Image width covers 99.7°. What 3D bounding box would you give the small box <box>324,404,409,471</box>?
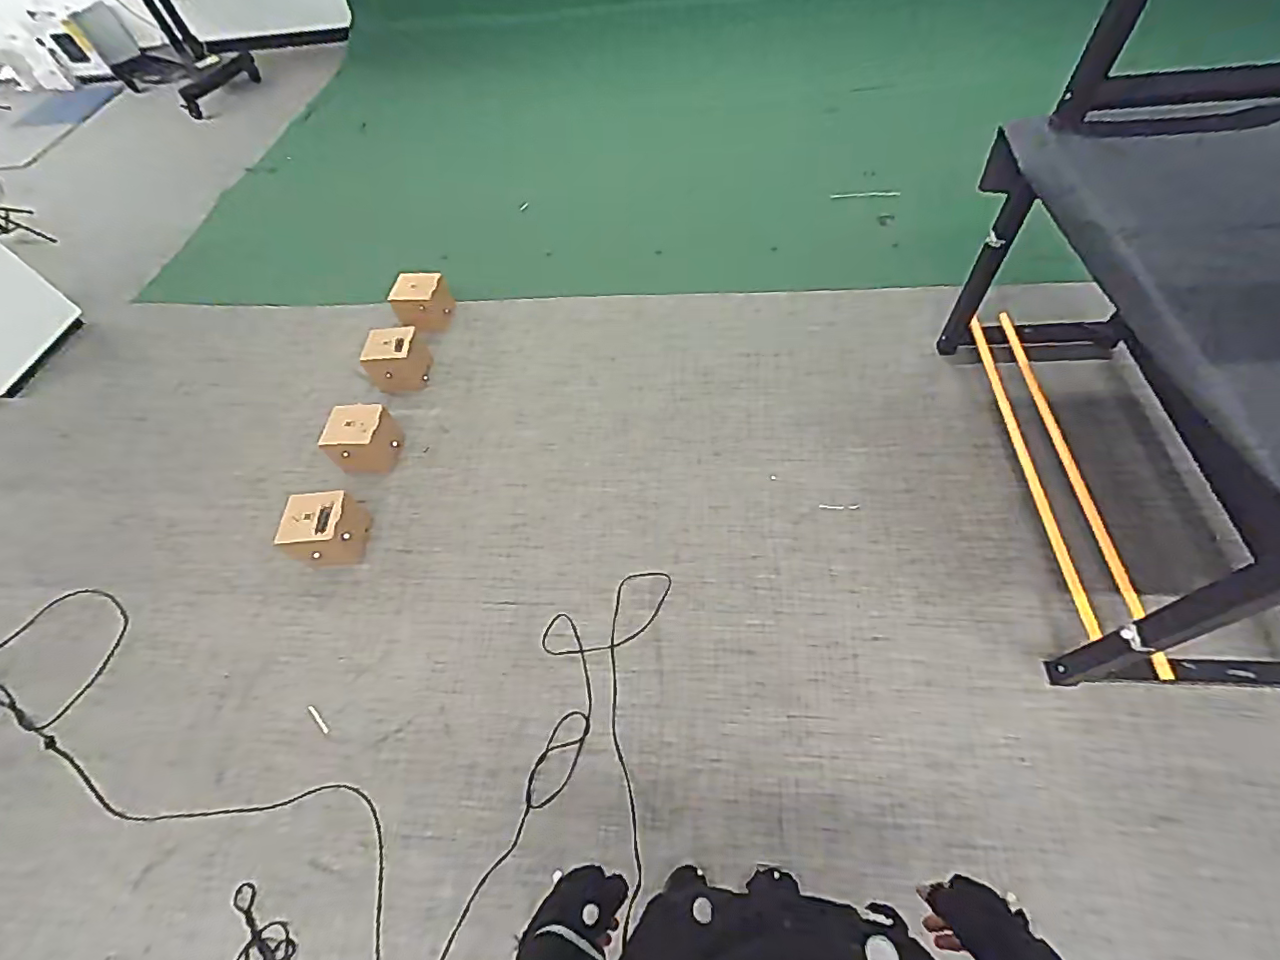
[{"bbox_3d":[-0.921,-0.141,1.834,0.179,0.176,0.168,0,58,5],"label":"small box"}]

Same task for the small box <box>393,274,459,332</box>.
[{"bbox_3d":[-0.871,-0.723,2.218,0.179,0.176,0.168,2,58,6],"label":"small box"}]

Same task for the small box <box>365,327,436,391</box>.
[{"bbox_3d":[-0.895,-0.453,2.041,0.179,0.176,0.168,-3,56,4],"label":"small box"}]
